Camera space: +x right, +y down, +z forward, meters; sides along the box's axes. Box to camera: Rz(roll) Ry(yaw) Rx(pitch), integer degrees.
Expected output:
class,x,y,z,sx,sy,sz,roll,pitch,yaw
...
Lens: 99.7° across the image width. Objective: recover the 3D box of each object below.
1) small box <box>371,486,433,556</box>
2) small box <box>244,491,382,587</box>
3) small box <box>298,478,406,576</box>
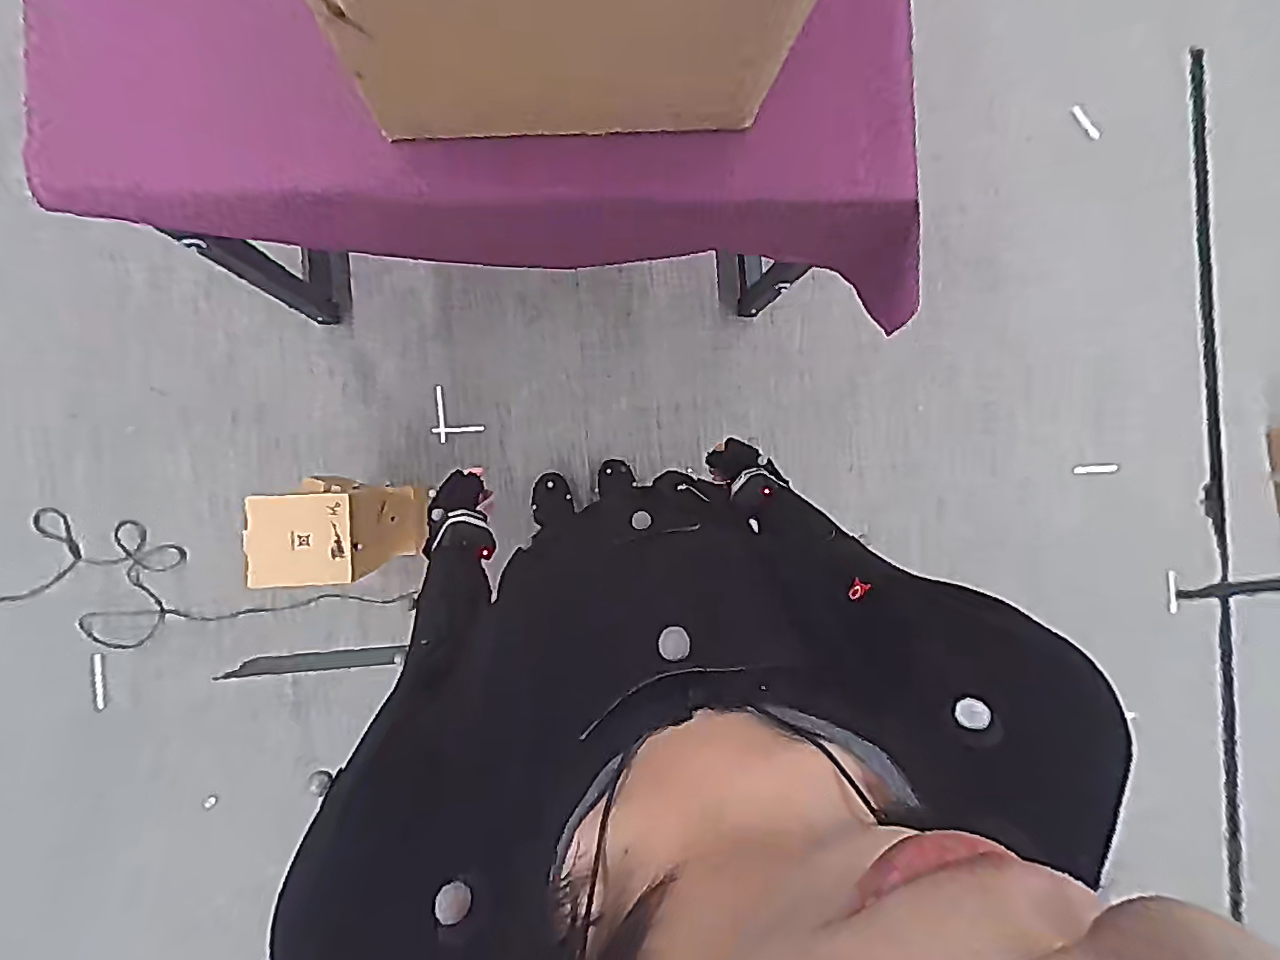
class,x,y,z,sx,sy,sz,roll,pitch,yaw
small box,-0.633,0.101,1.357,0.179,0.176,0.168,-1,91,-8
small box,-0.613,0.106,1.031,0.179,0.176,0.168,-1,90,-7
small box,-0.643,0.097,1.192,0.179,0.176,0.168,18,87,-6
